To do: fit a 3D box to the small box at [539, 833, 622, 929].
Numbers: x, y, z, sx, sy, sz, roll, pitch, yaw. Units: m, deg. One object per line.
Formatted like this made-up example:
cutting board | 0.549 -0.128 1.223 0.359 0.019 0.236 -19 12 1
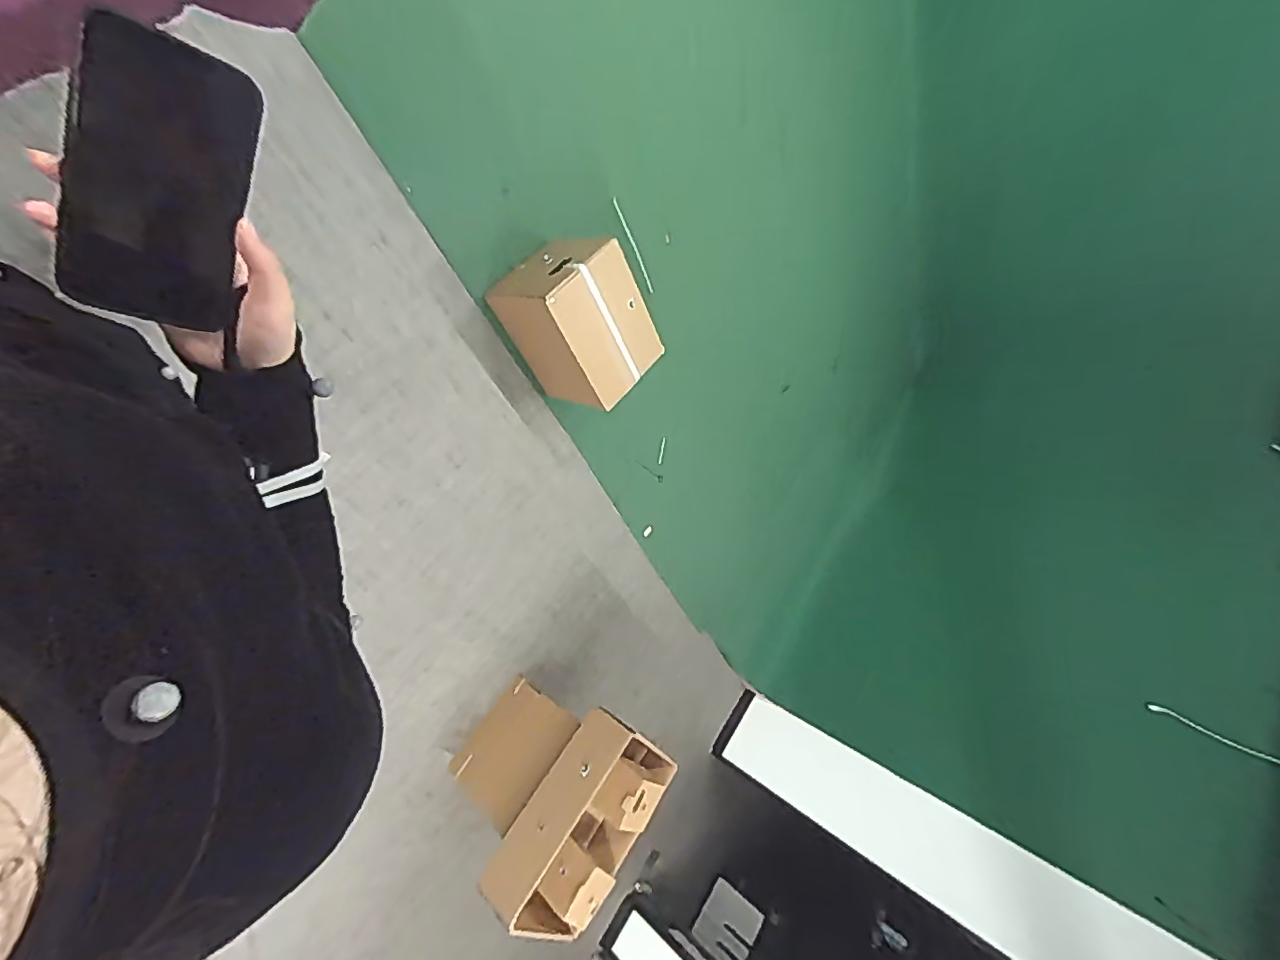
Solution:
small box | -0.193 1.283 1.741 0.168 0.176 0.179 -46 132 -25
